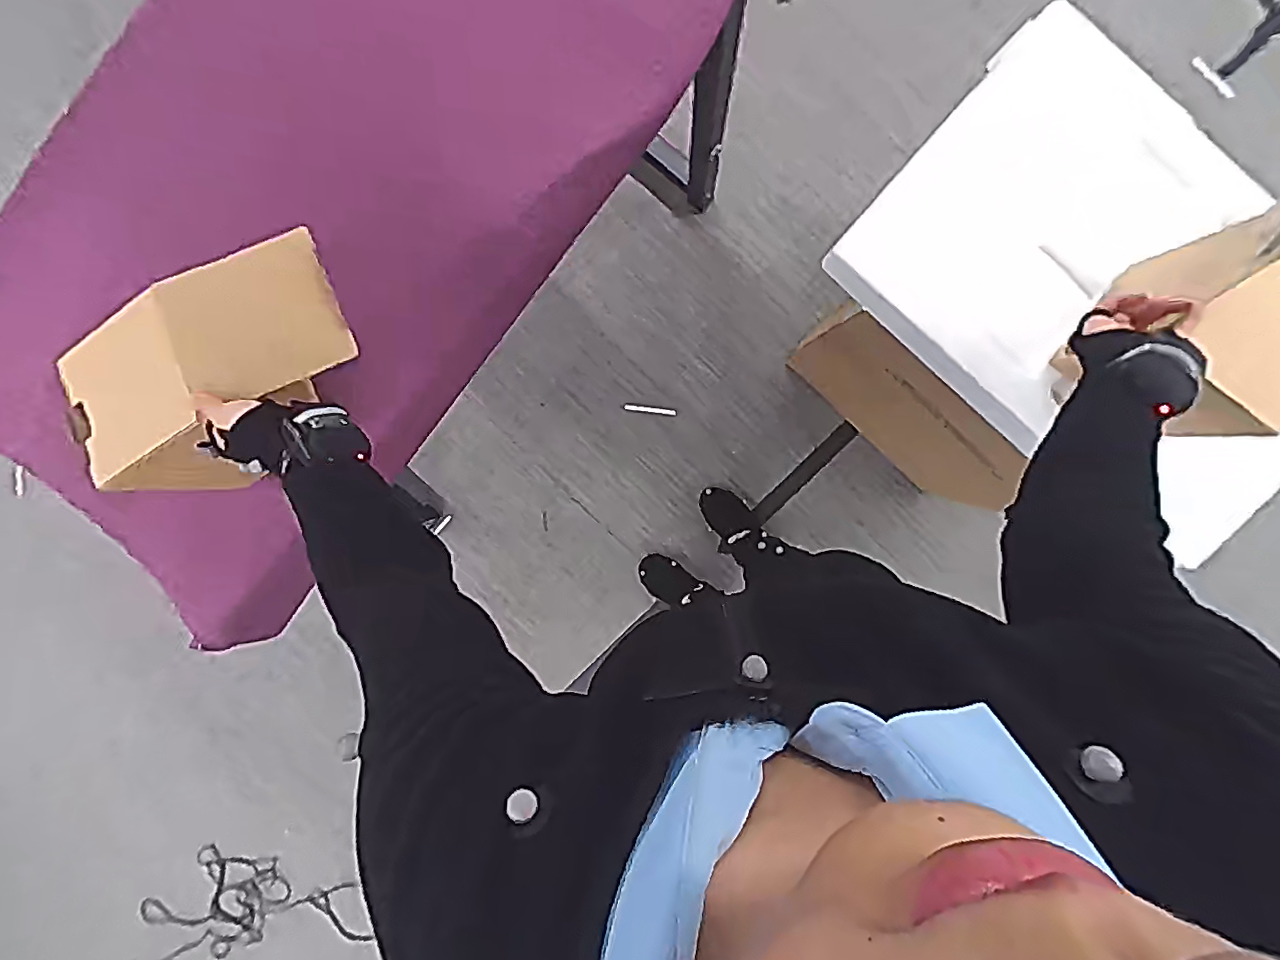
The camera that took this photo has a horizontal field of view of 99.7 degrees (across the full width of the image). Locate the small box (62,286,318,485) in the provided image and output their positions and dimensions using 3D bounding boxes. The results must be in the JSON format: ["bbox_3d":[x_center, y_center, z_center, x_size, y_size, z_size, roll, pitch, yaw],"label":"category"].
[{"bbox_3d":[-0.533,-0.102,0.664,0.179,0.176,0.168,-25,82,16],"label":"small box"}]
